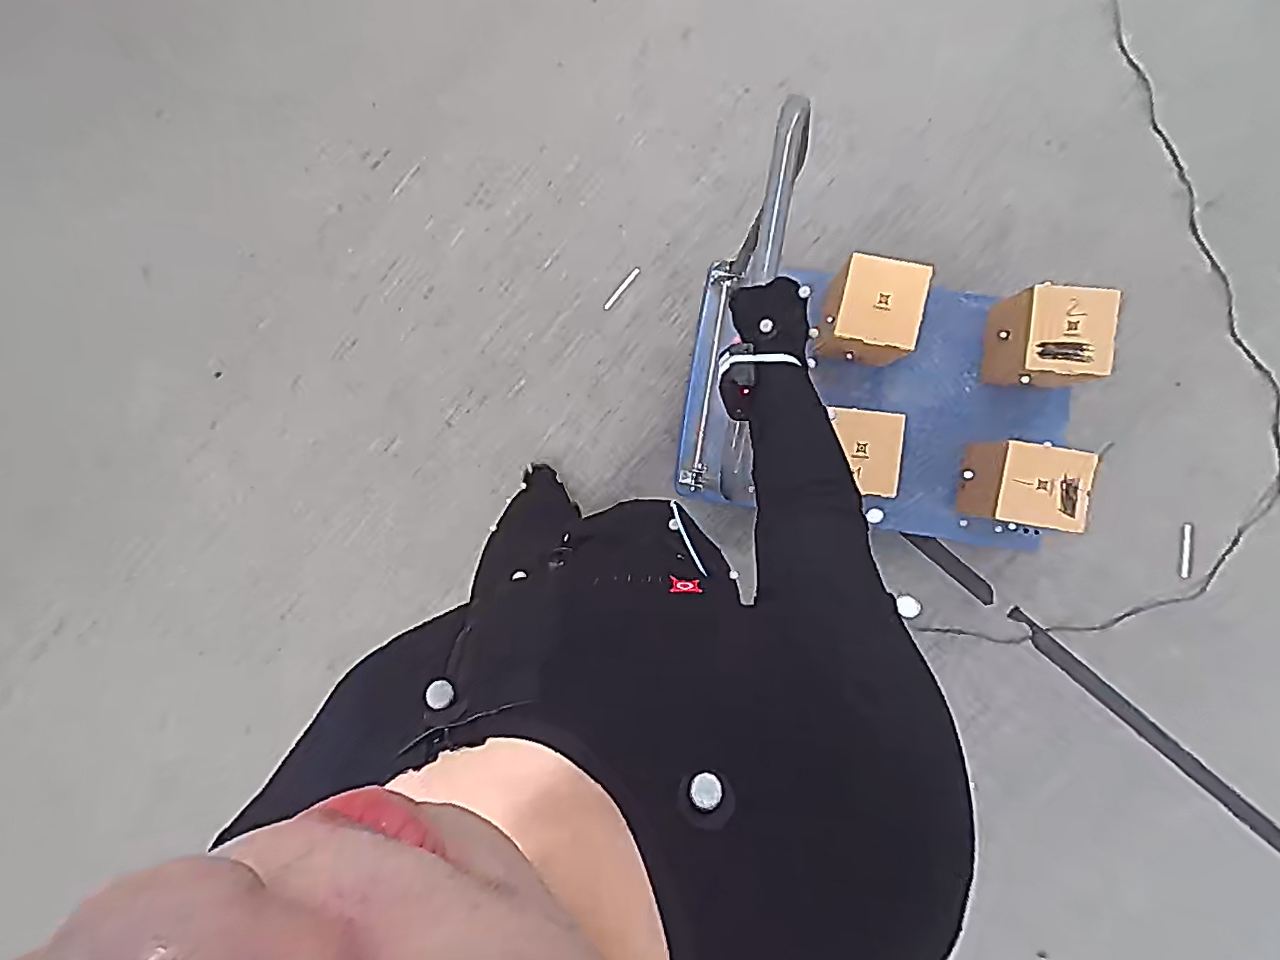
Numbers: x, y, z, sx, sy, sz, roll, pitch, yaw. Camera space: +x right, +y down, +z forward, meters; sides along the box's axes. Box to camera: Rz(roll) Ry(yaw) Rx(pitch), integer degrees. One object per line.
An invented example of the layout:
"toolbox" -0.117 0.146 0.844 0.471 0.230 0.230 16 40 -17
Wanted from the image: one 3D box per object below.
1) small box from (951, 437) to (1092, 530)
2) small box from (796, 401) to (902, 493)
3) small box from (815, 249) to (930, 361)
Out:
"small box" 0.819 0.004 1.177 0.179 0.176 0.168 10 92 4
"small box" 0.453 -0.069 1.196 0.168 0.176 0.179 7 92 3
"small box" 0.499 -0.375 1.186 0.168 0.176 0.179 12 94 3
